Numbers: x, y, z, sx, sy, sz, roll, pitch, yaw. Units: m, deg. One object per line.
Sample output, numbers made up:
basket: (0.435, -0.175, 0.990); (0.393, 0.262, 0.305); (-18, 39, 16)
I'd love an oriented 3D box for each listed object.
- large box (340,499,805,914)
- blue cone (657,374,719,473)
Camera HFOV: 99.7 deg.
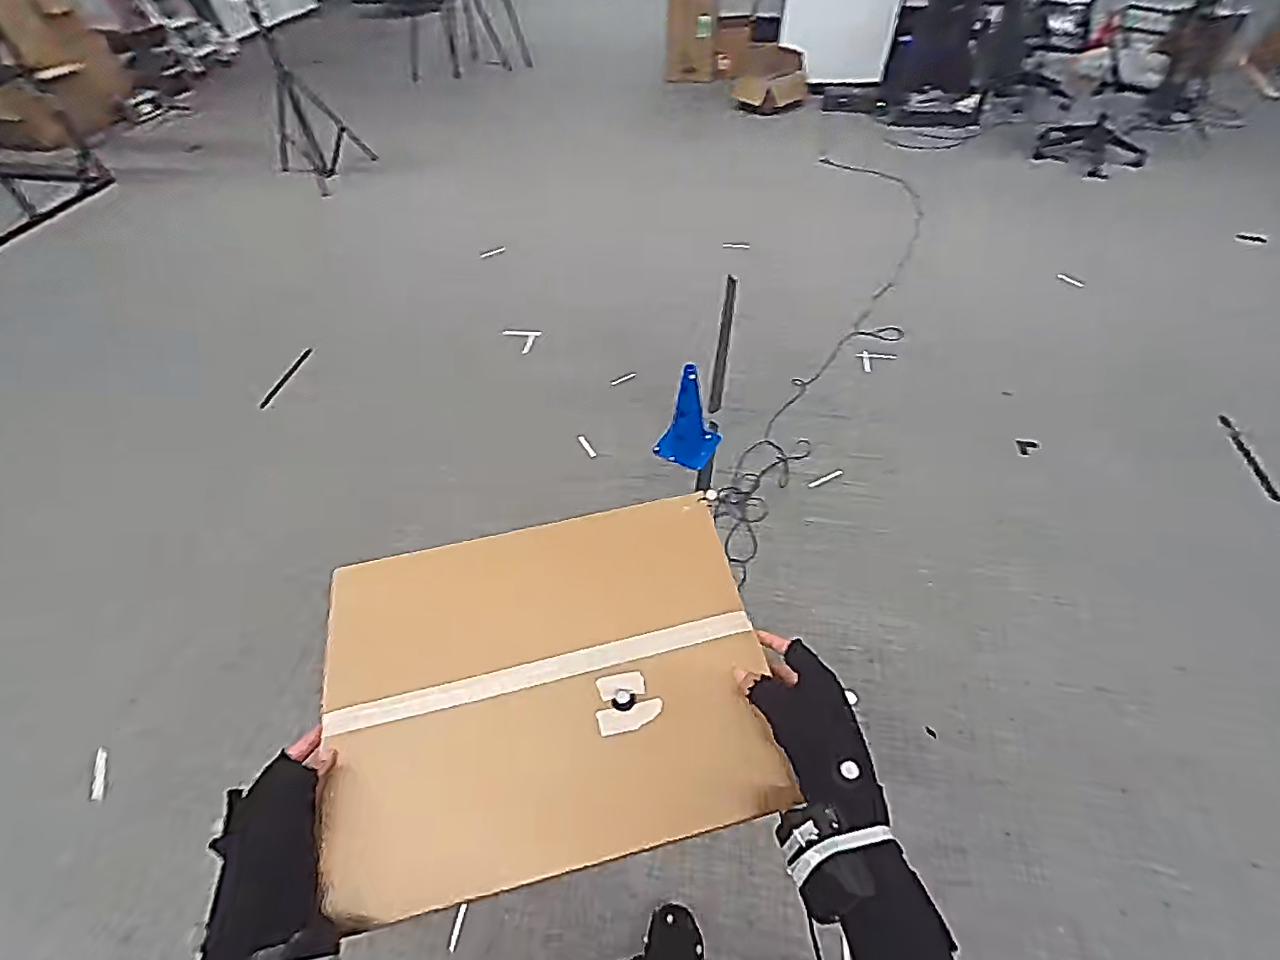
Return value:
large box: (-0.078, 0.266, 0.652); (0.408, 0.320, 0.320); (-11, 57, -6)
blue cone: (0.172, -0.219, 1.880); (0.193, 0.380, 0.192); (24, 56, 22)
